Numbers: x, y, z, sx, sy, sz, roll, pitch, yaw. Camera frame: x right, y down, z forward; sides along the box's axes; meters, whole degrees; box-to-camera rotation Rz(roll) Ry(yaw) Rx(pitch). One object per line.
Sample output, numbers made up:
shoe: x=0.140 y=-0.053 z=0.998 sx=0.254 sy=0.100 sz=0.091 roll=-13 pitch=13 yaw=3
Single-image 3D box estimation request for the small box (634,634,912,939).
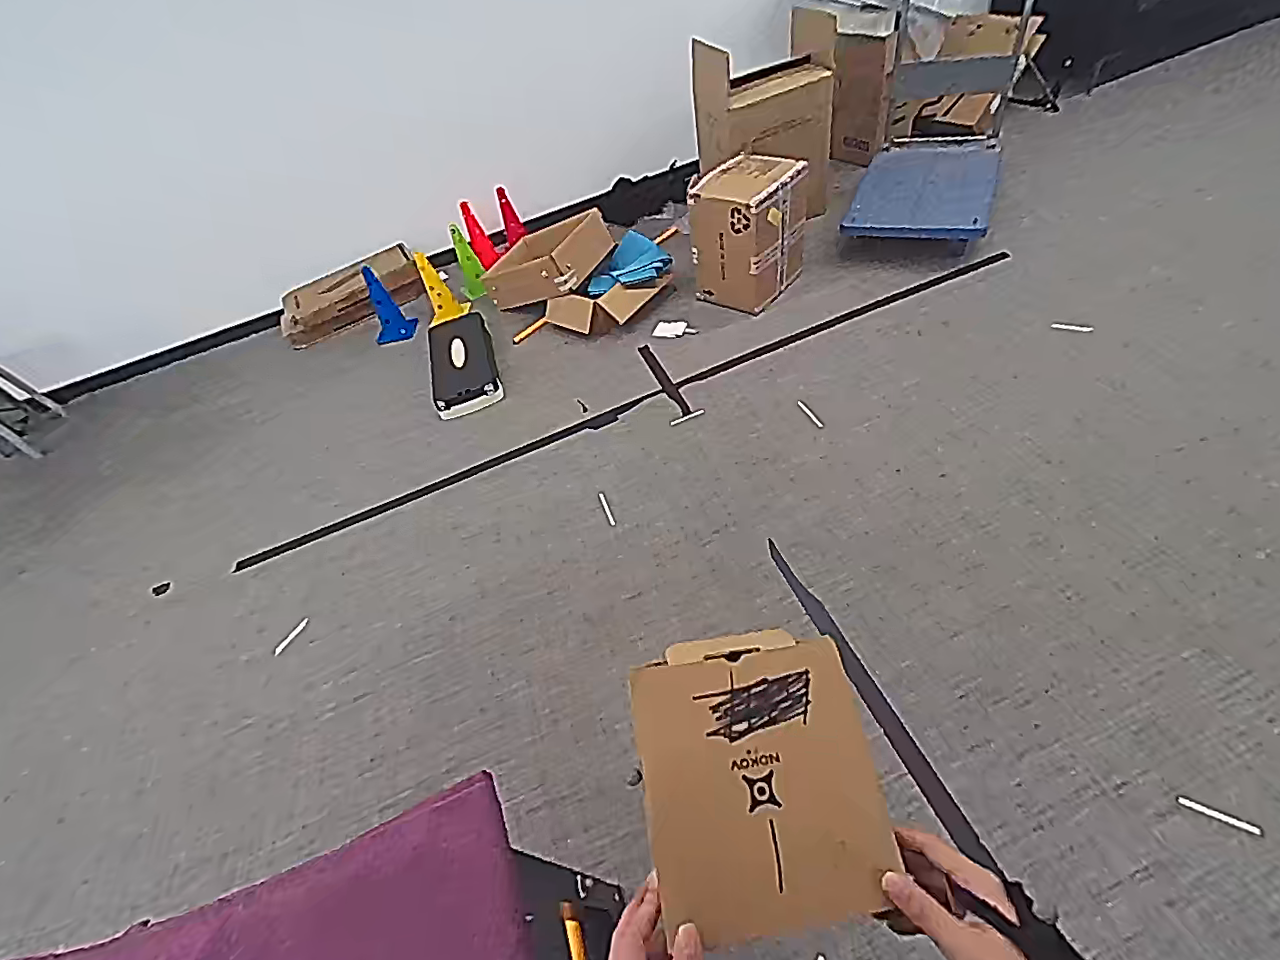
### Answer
small box: x=0.086 y=0.245 z=0.457 sx=0.168 sy=0.176 sz=0.179 roll=-7 pitch=63 yaw=-4
